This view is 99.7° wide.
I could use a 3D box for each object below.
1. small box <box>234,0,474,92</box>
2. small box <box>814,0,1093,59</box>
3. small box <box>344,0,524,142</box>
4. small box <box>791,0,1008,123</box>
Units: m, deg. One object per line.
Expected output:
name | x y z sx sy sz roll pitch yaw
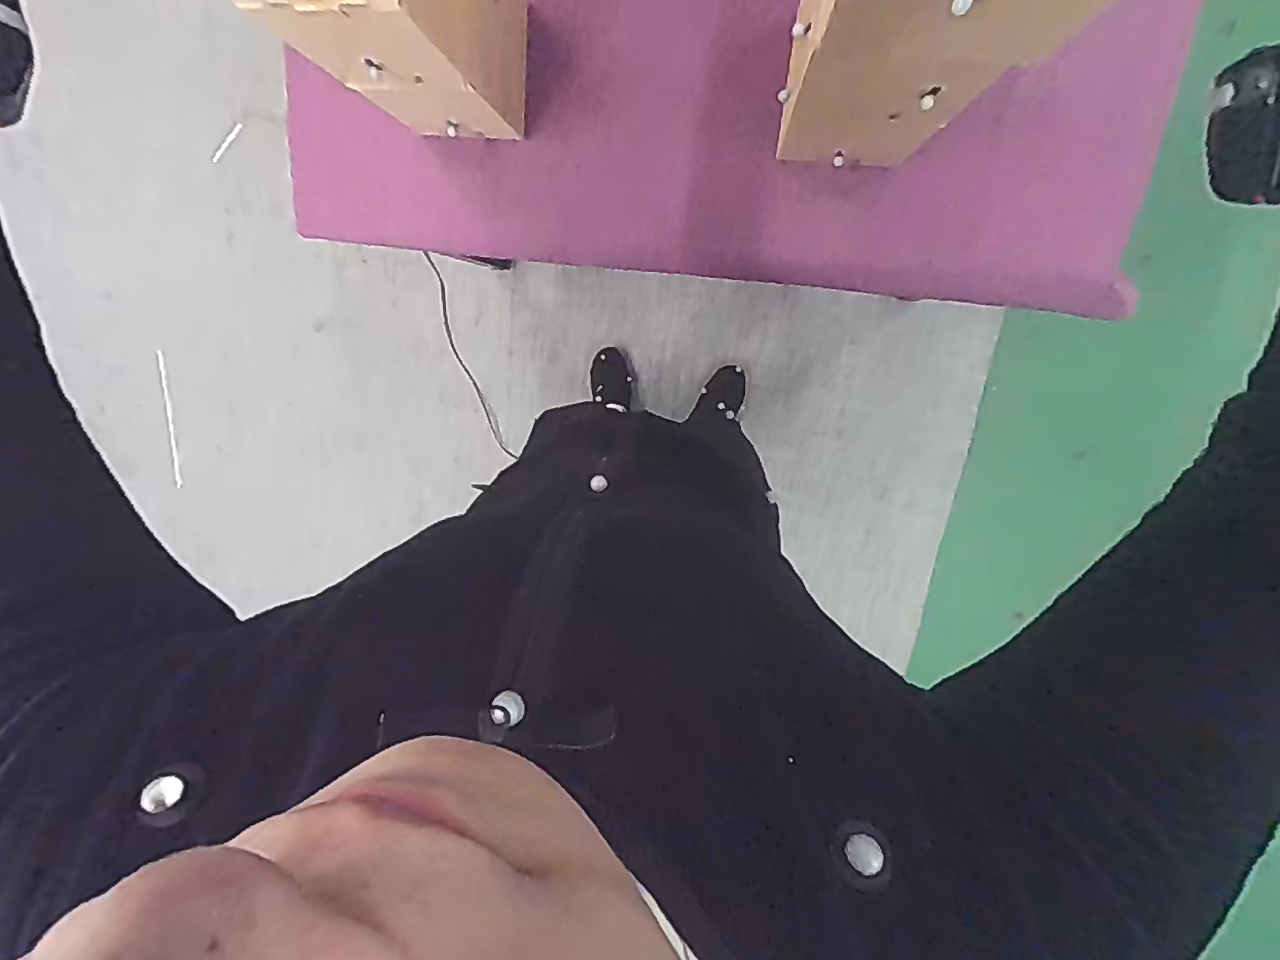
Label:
small box | -0.278 -0.530 0.544 0.168 0.176 0.179 6 106 6
small box | 0.223 -0.397 0.335 0.179 0.176 0.168 10 106 7
small box | -0.257 -0.569 0.700 0.168 0.176 0.179 7 105 7
small box | 0.238 -0.450 0.488 0.168 0.176 0.179 7 106 6
